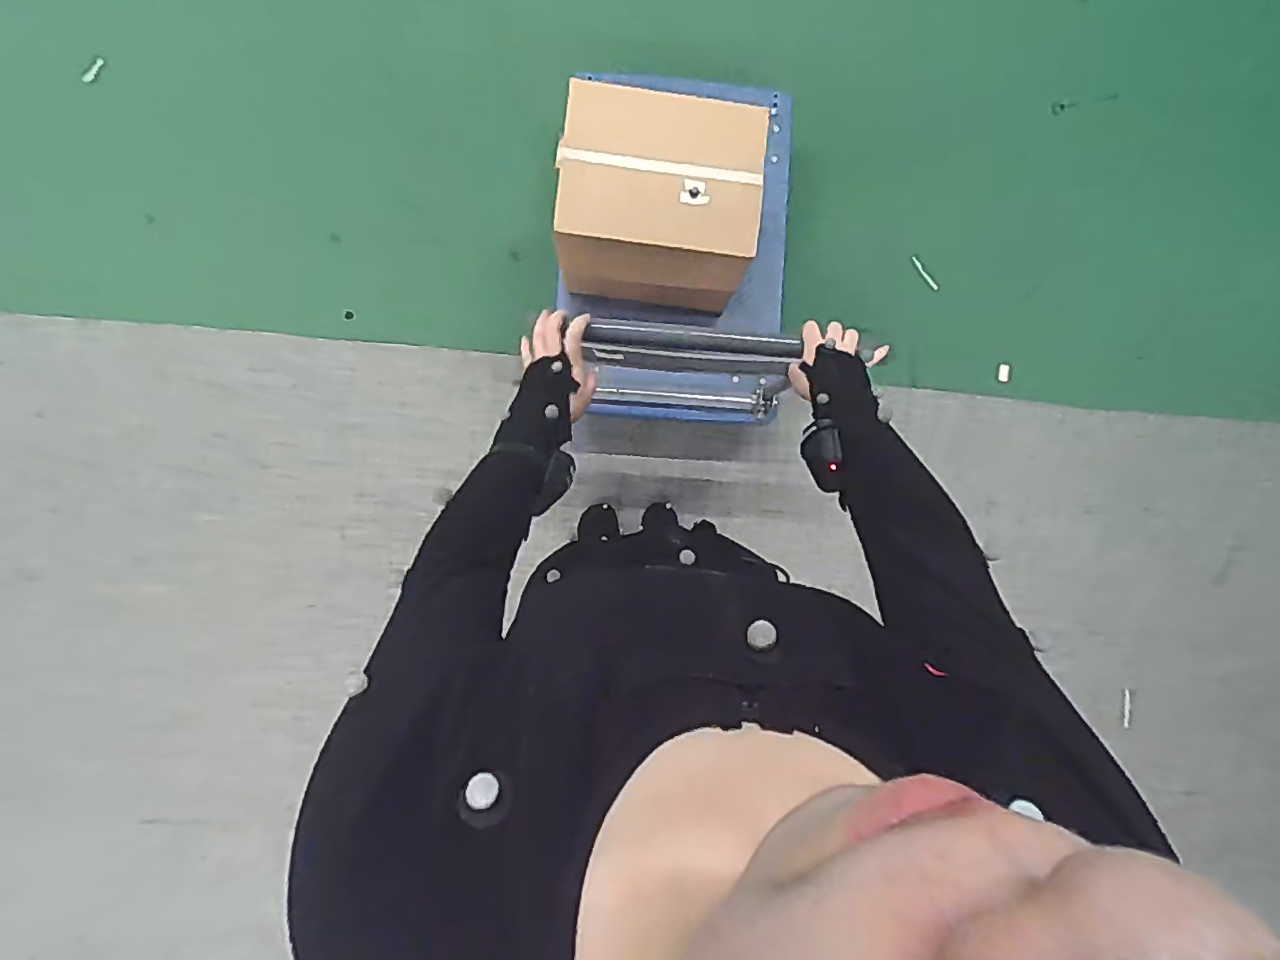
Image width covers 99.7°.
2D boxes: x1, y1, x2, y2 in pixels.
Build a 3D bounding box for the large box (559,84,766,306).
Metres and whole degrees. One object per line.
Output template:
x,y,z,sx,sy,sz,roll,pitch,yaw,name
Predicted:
0.036,-0.618,1.233,0.408,0.320,0.320,6,87,-4,large box
